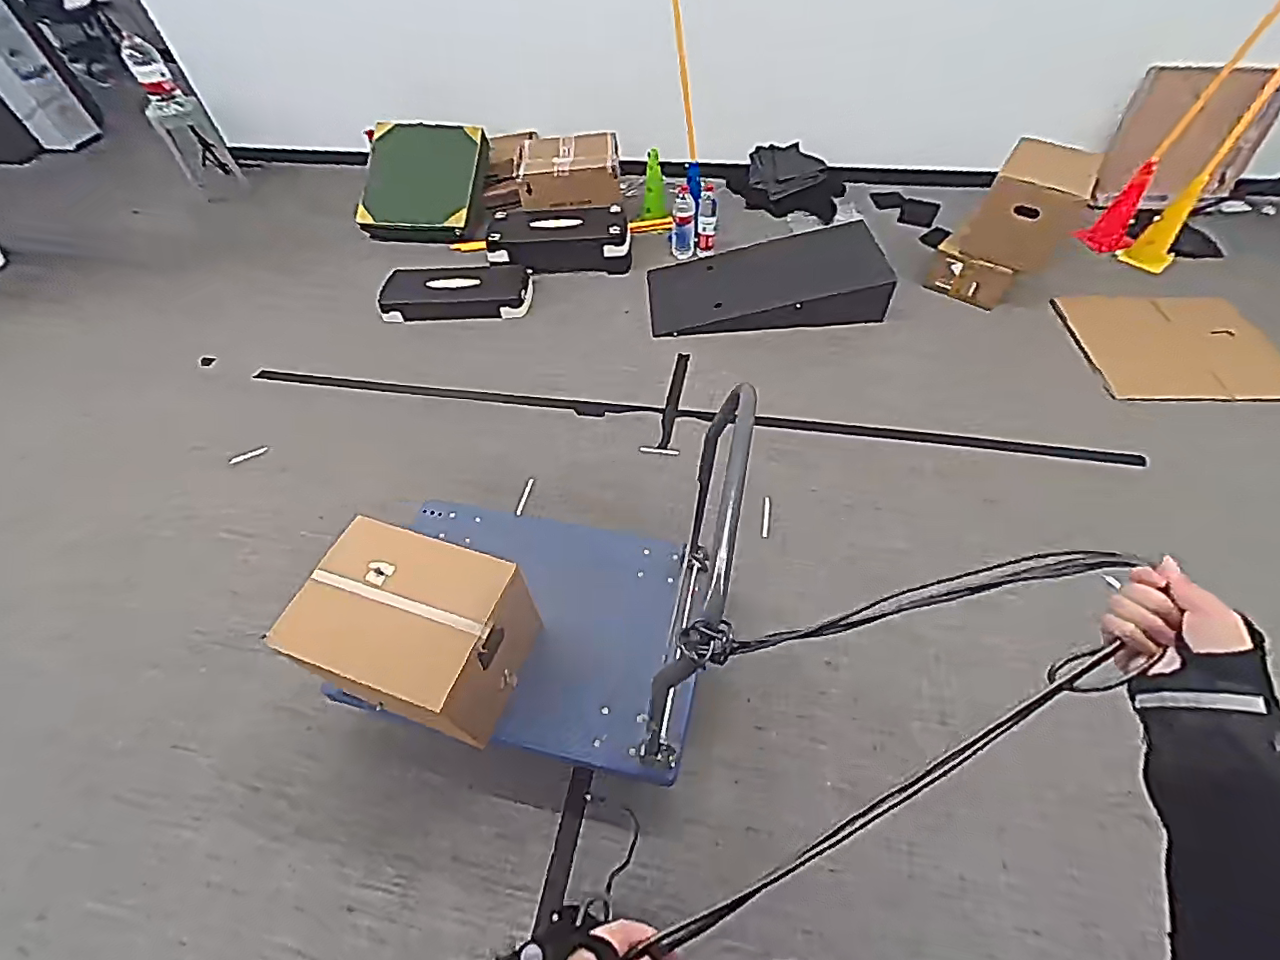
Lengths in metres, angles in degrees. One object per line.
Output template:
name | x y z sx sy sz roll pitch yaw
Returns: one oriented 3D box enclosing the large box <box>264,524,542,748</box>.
large box | -0.479 0.346 1.194 0.408 0.320 0.320 14 54 13
